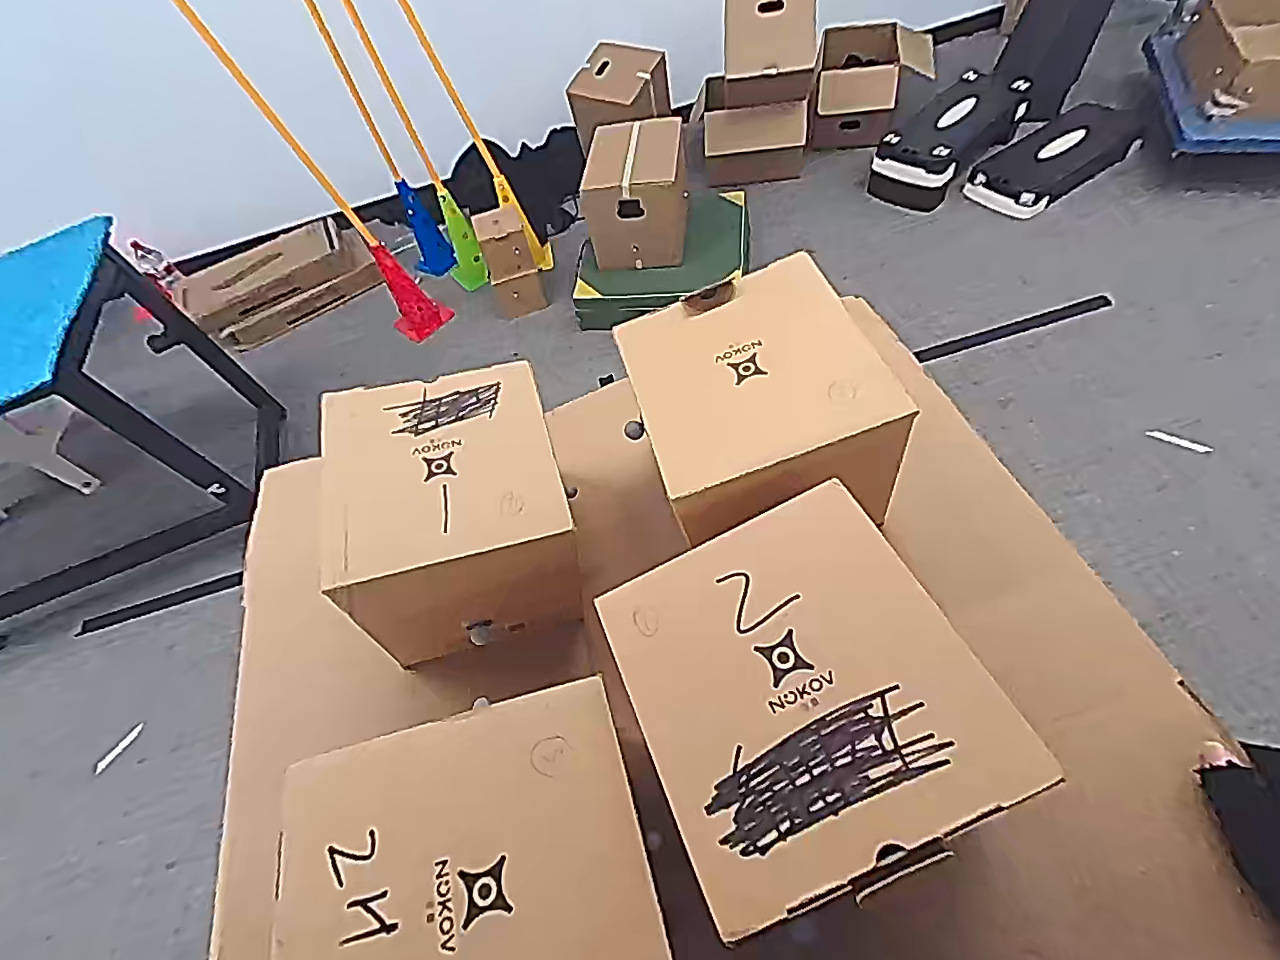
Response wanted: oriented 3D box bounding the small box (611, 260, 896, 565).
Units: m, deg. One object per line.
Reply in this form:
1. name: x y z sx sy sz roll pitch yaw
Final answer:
1. small box: 0.092 -0.044 0.465 0.168 0.176 0.179 -21 56 4
